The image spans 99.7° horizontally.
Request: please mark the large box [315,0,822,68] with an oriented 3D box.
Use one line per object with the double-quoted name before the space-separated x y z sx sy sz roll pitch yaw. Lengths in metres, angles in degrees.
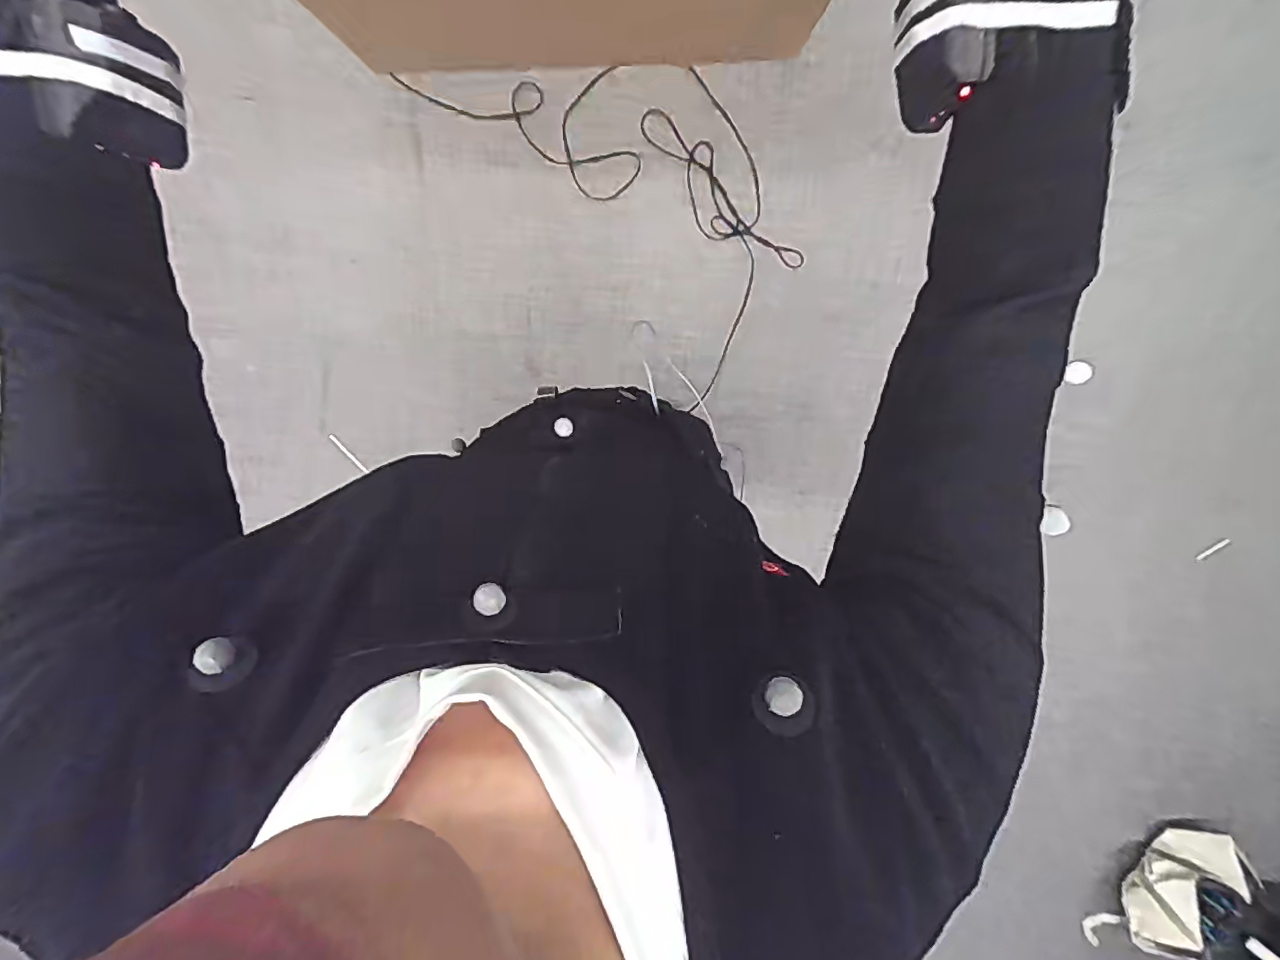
"large box" -0.054 -0.497 0.321 0.408 0.320 0.320 -2 108 0
